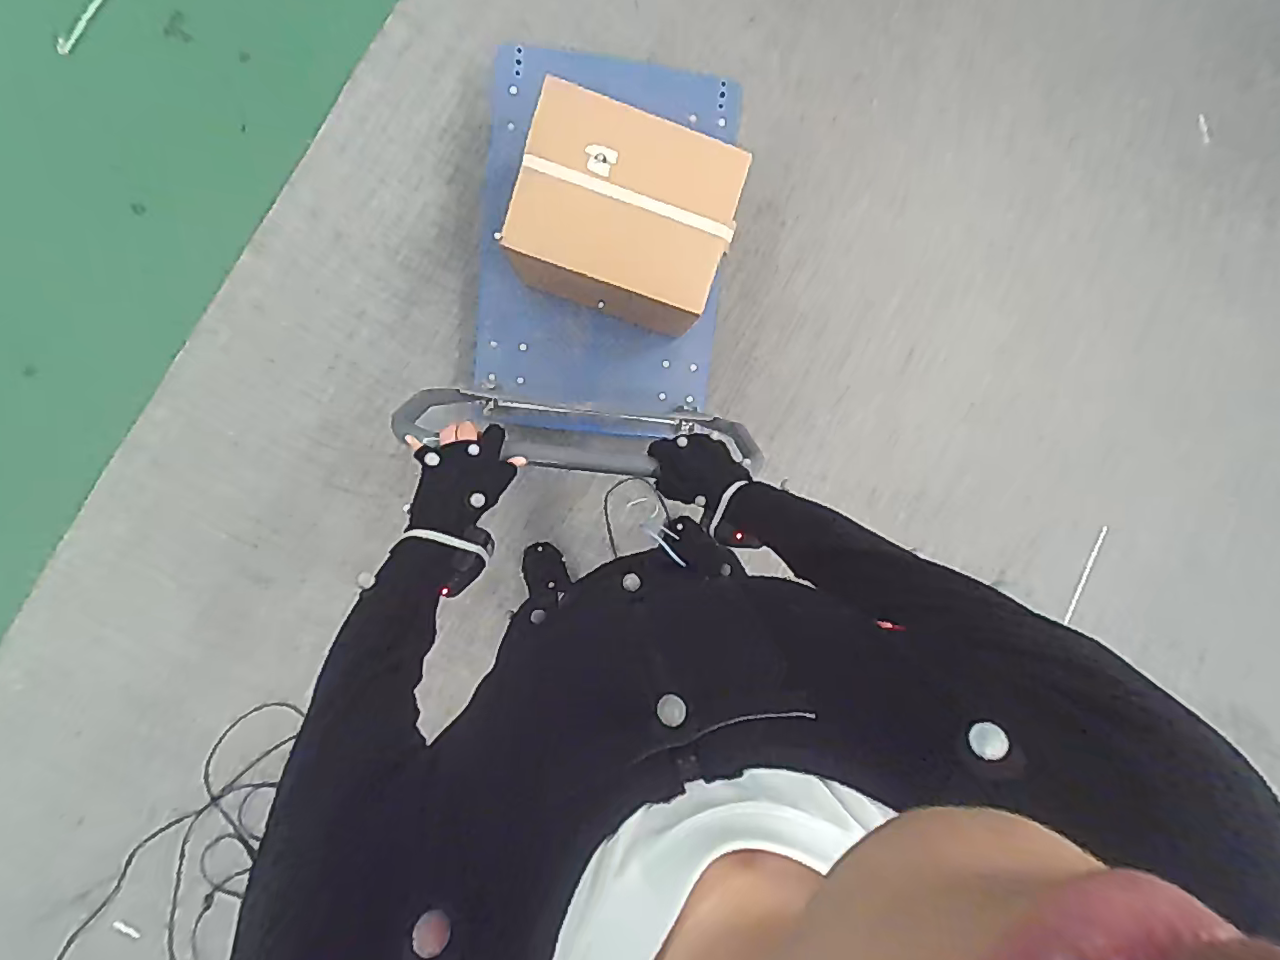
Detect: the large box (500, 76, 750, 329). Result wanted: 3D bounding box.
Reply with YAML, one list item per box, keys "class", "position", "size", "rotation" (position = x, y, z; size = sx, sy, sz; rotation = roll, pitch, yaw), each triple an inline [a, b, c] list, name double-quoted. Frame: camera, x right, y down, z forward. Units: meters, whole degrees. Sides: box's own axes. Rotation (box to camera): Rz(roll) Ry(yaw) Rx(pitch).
- class: "large box"
  position: [-0.033, -0.547, 1.153]
  size: [0.408, 0.320, 0.320]
  rotation: [18, 95, -5]
